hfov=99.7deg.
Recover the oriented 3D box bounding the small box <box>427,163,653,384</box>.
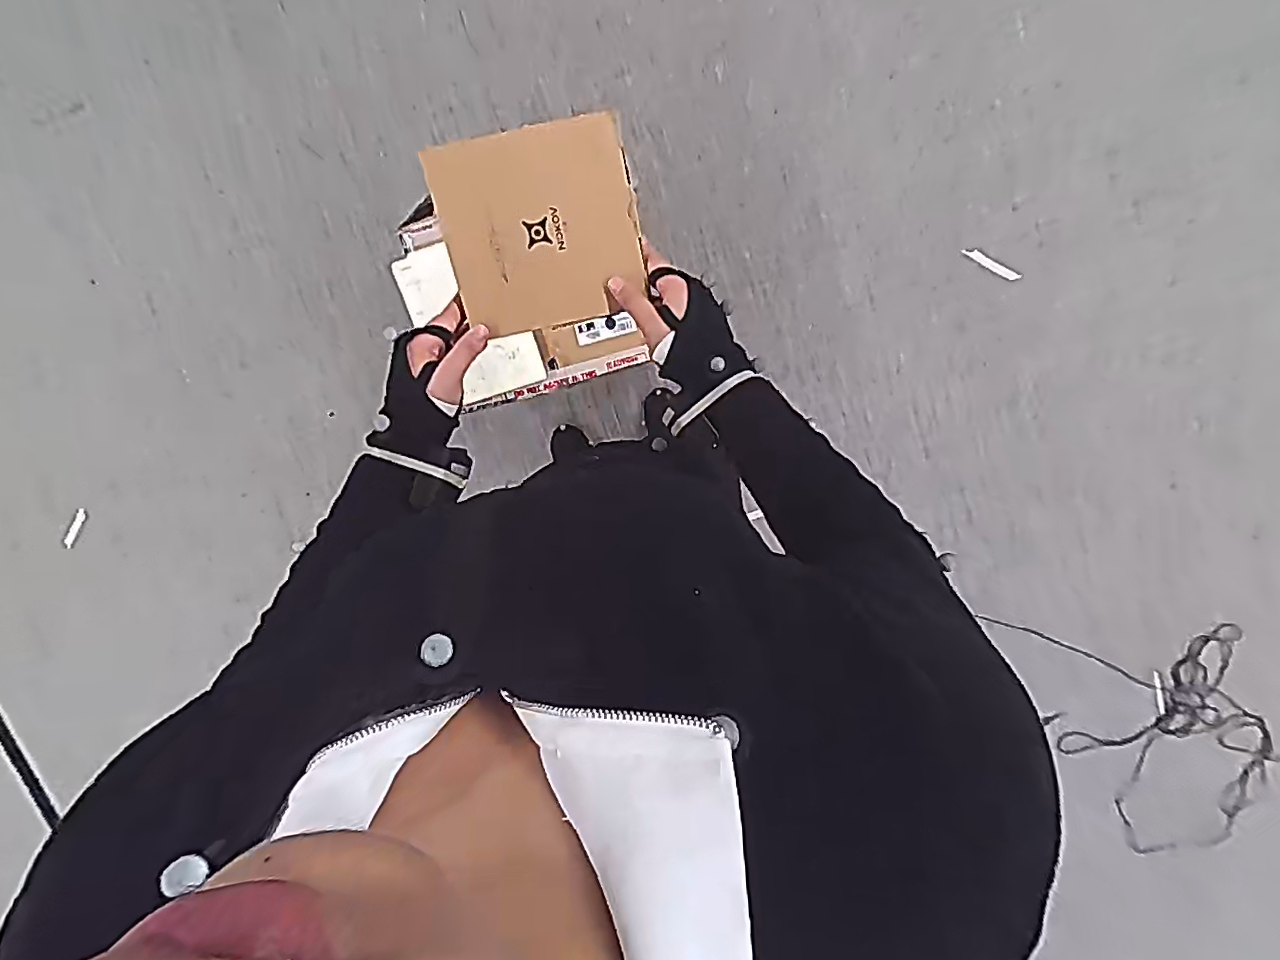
[{"bbox_3d":[-0.093,-0.209,0.573,0.179,0.176,0.168,-13,107,1],"label":"small box"}]
